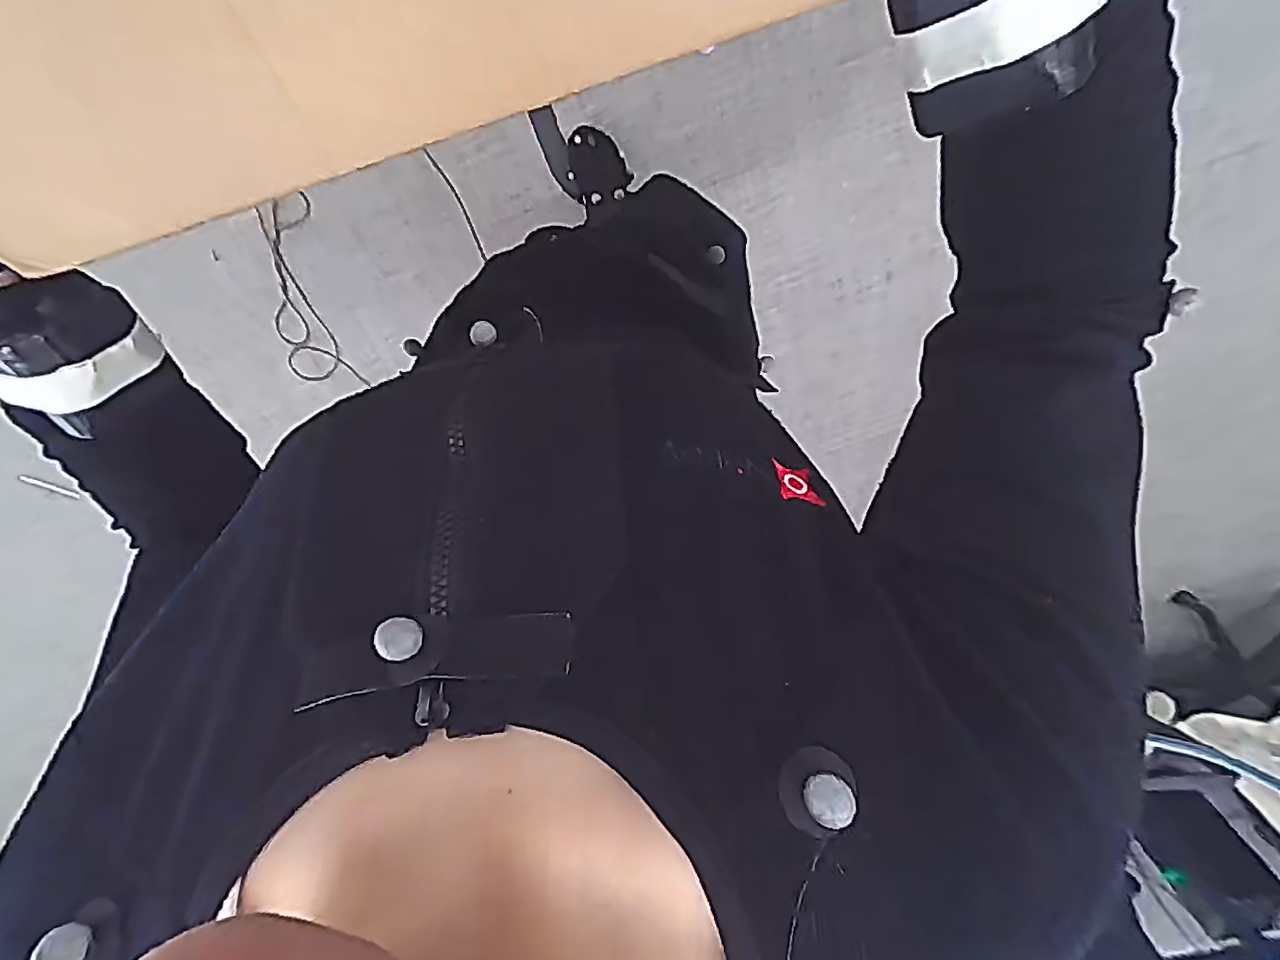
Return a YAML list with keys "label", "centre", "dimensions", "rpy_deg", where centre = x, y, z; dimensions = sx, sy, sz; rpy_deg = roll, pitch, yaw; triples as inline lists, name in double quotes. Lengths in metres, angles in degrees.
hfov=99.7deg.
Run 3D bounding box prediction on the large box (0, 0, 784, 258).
- label: "large box"
  centre: [-0.148, -0.358, 0.210]
  dimensions: [0.408, 0.320, 0.320]
  rpy_deg: [-14, 140, 7]
